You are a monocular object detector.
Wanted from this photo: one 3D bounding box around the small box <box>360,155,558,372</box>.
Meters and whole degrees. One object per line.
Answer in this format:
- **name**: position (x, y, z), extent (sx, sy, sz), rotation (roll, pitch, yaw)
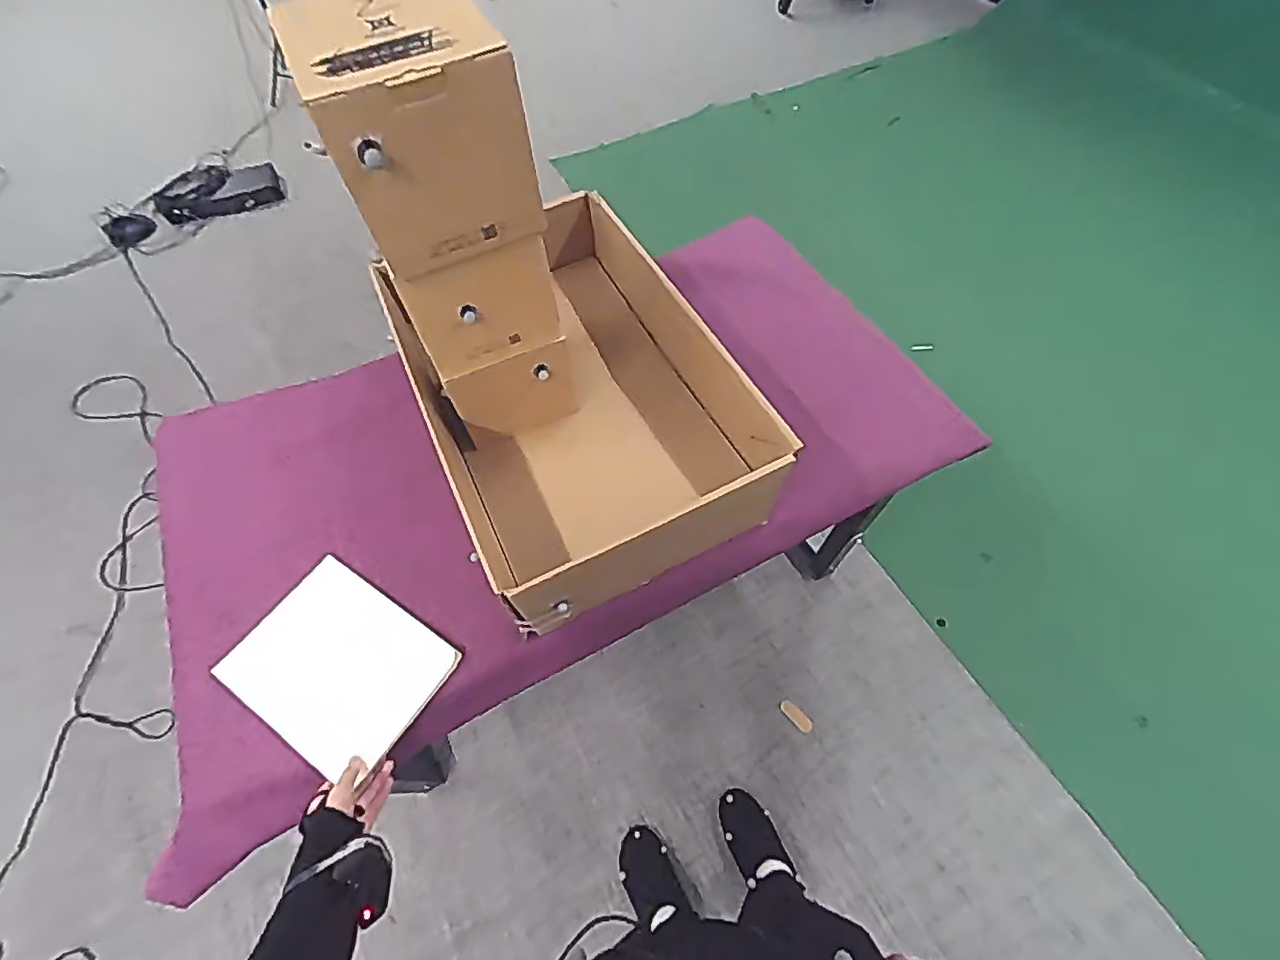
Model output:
- **small box**: position (-0.215, -0.259, 0.676), extent (0.168, 0.176, 0.179), rotation (-23, 63, -11)
